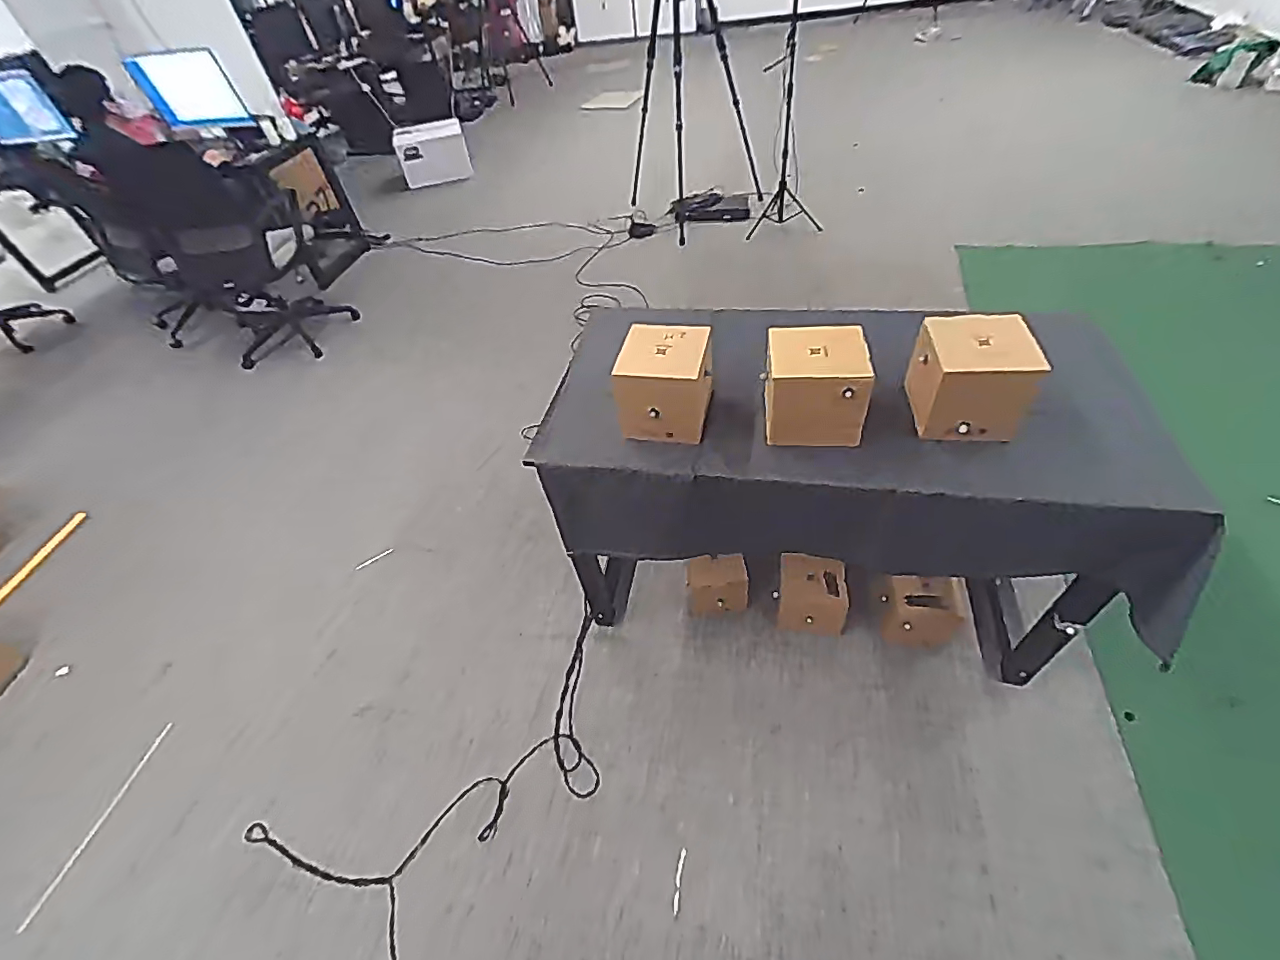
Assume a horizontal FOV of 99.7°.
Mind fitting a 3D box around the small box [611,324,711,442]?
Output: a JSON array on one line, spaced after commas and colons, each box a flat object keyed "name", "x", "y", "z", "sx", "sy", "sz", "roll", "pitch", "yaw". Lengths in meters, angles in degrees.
[{"name": "small box", "x": 0.052, "y": -0.195, "z": 1.099, "sx": 0.168, "sy": 0.176, "sz": 0.179, "roll": 7, "pitch": 49, "yaw": 13}]

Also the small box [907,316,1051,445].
[{"name": "small box", "x": 0.616, "y": -0.188, "z": 1.010, "sx": 0.168, "sy": 0.176, "sz": 0.179, "roll": 2, "pitch": 48, "yaw": 12}]

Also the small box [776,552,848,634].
[{"name": "small box", "x": 0.488, "y": 0.326, "z": 1.550, "sx": 0.179, "sy": 0.176, "sz": 0.168, "roll": 2, "pitch": 48, "yaw": 12}]

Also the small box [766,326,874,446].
[{"name": "small box", "x": 0.335, "y": -0.179, "z": 1.046, "sx": 0.179, "sy": 0.176, "sz": 0.168, "roll": 1, "pitch": 48, "yaw": 9}]
